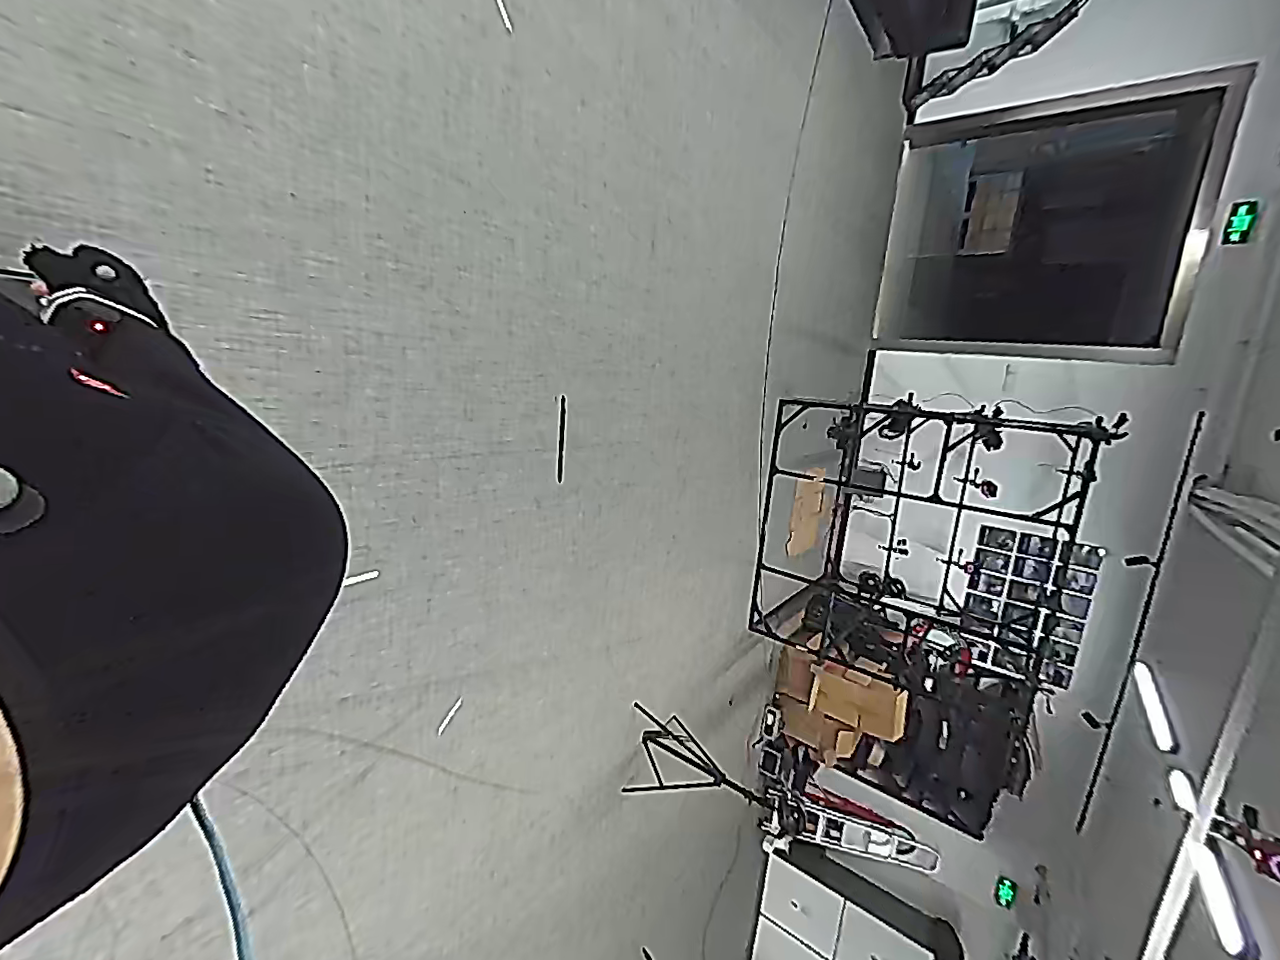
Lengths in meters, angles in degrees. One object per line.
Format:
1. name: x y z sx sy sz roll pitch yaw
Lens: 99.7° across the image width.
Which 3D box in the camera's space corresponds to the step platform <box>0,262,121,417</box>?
1. step platform: -1.325 -0.247 0.886 0.684 0.204 0.286 -13 111 -54
